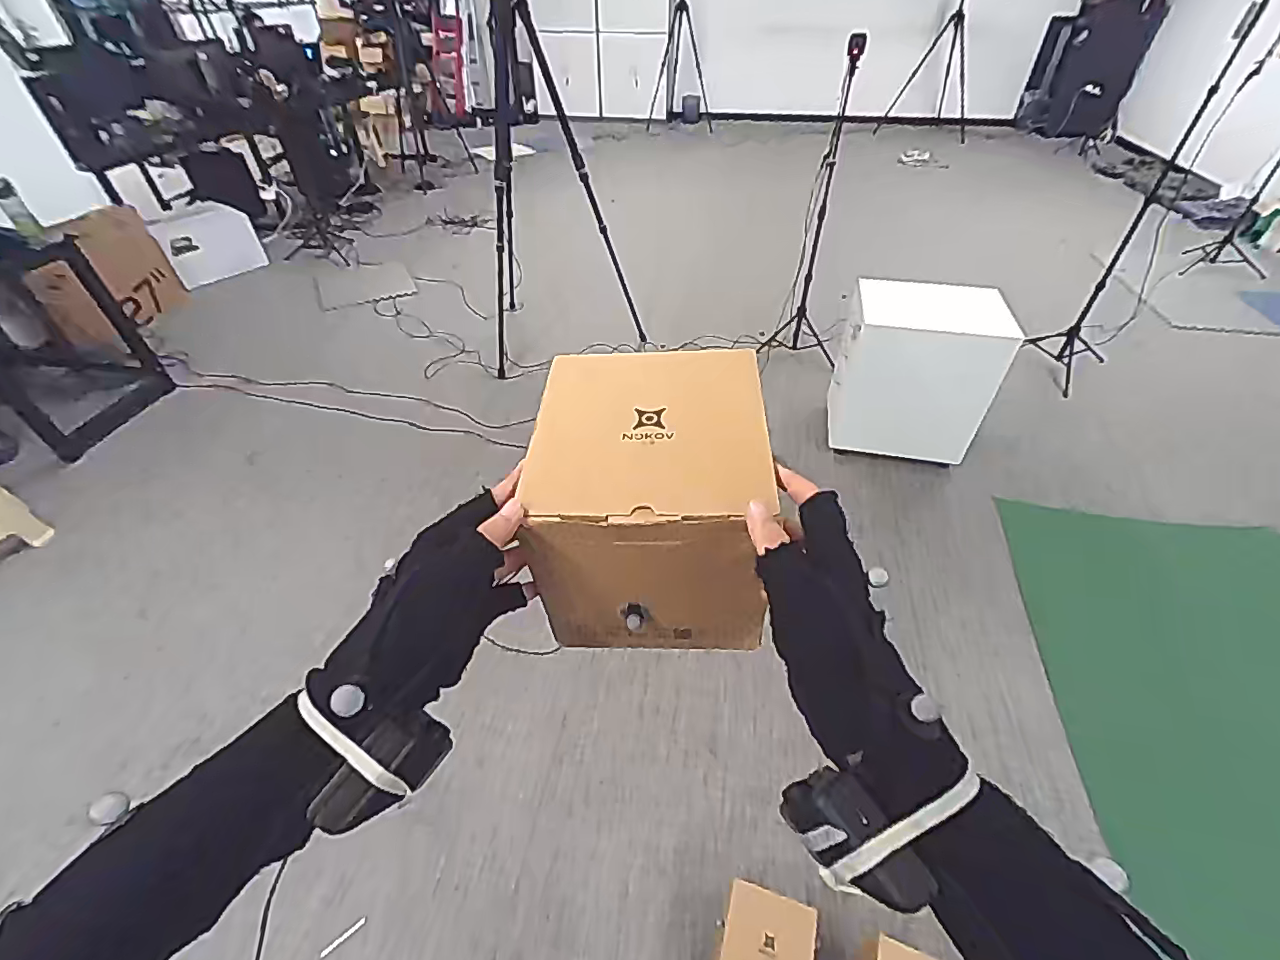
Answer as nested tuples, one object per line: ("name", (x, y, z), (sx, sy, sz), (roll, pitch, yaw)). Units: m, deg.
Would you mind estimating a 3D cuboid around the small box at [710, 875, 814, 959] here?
("small box", (0.232, 0.926, 1.062), (0.168, 0.176, 0.179), (13, 45, 15))
